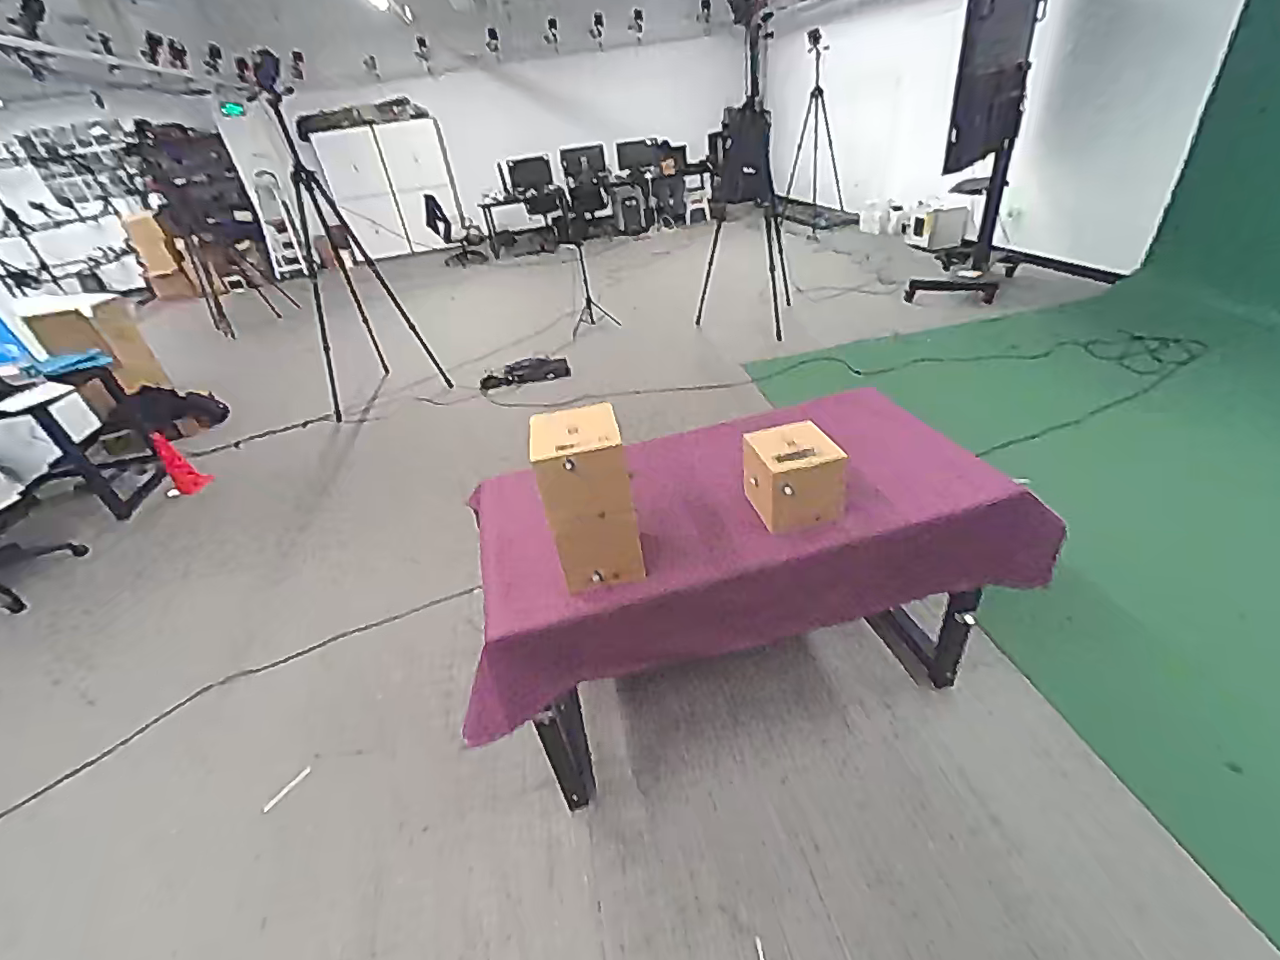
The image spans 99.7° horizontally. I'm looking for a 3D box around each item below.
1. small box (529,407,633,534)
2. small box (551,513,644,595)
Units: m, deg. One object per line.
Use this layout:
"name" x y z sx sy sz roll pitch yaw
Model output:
"small box" -0.114 -0.020 1.056 0.168 0.176 0.179 -13 33 -3
"small box" -0.091 0.115 1.147 0.168 0.176 0.179 -12 34 -3
